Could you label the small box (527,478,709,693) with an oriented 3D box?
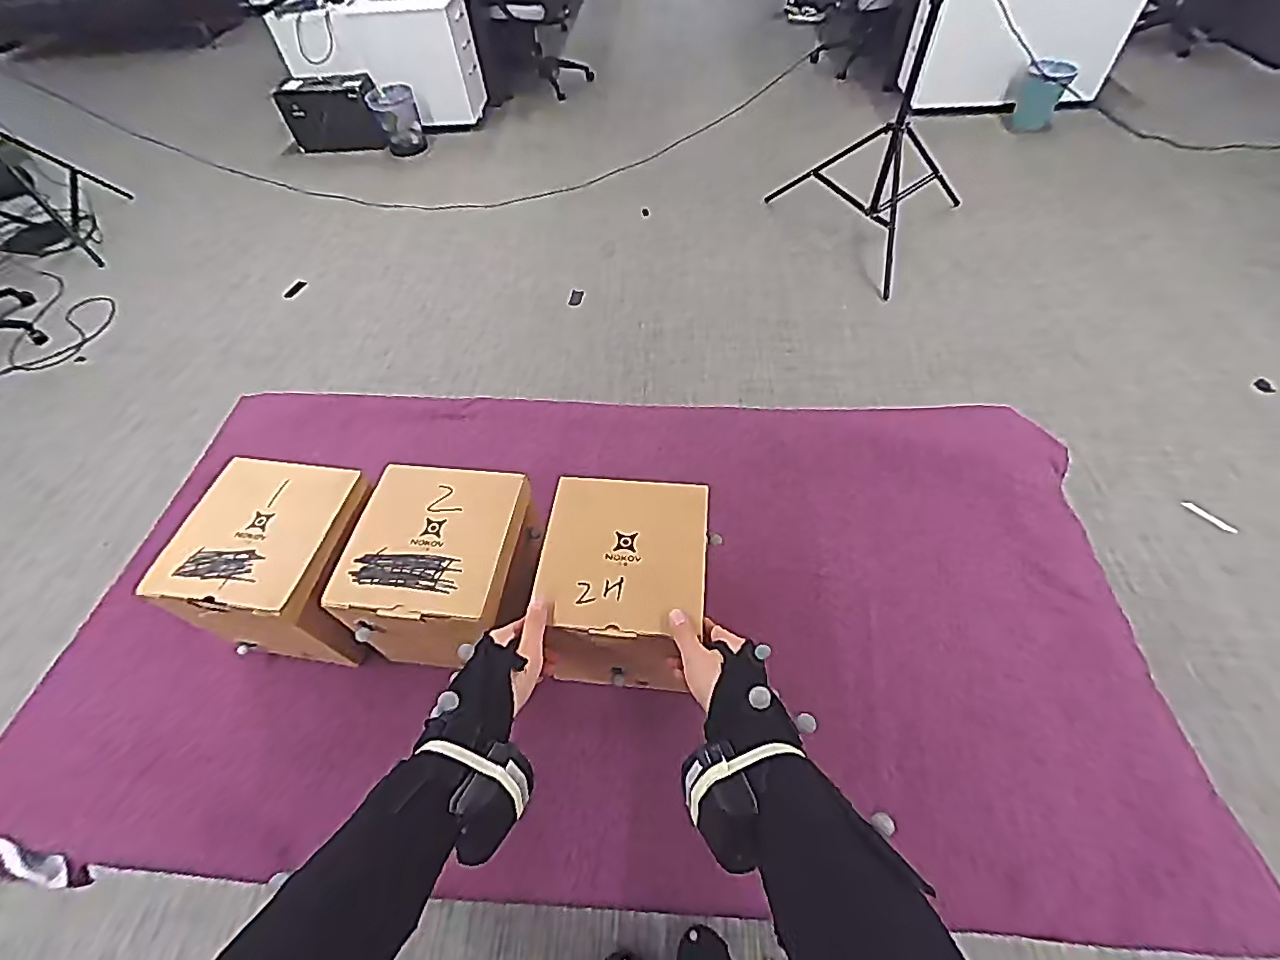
[{"bbox_3d":[-0.013,0.120,0.607,0.168,0.176,0.179,3,53,6],"label":"small box"}]
